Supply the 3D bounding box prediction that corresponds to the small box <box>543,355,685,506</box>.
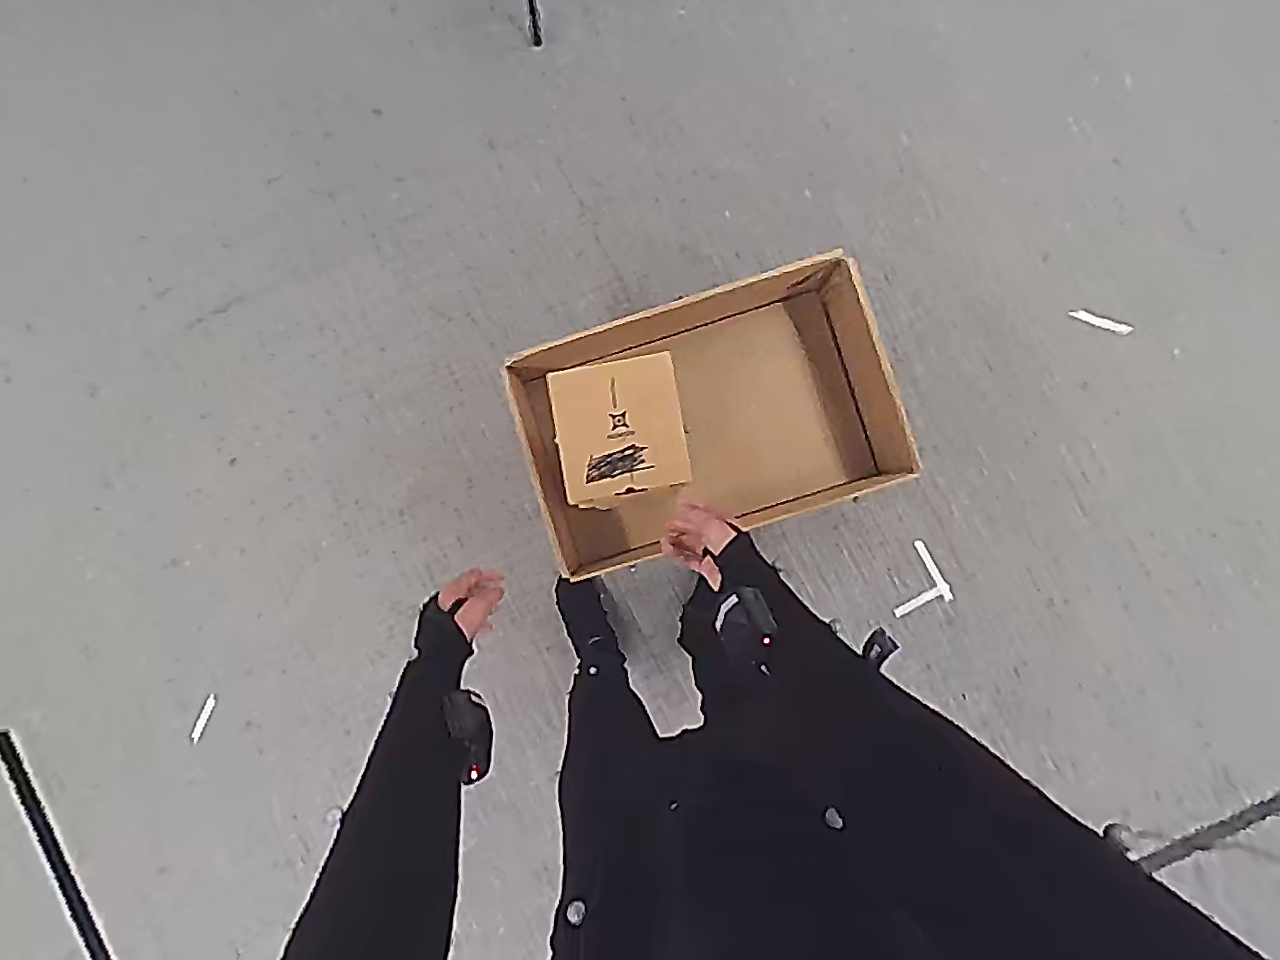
[{"bbox_3d":[-0.031,-0.063,0.780,0.168,0.176,0.179,-10,87,1],"label":"small box"}]
